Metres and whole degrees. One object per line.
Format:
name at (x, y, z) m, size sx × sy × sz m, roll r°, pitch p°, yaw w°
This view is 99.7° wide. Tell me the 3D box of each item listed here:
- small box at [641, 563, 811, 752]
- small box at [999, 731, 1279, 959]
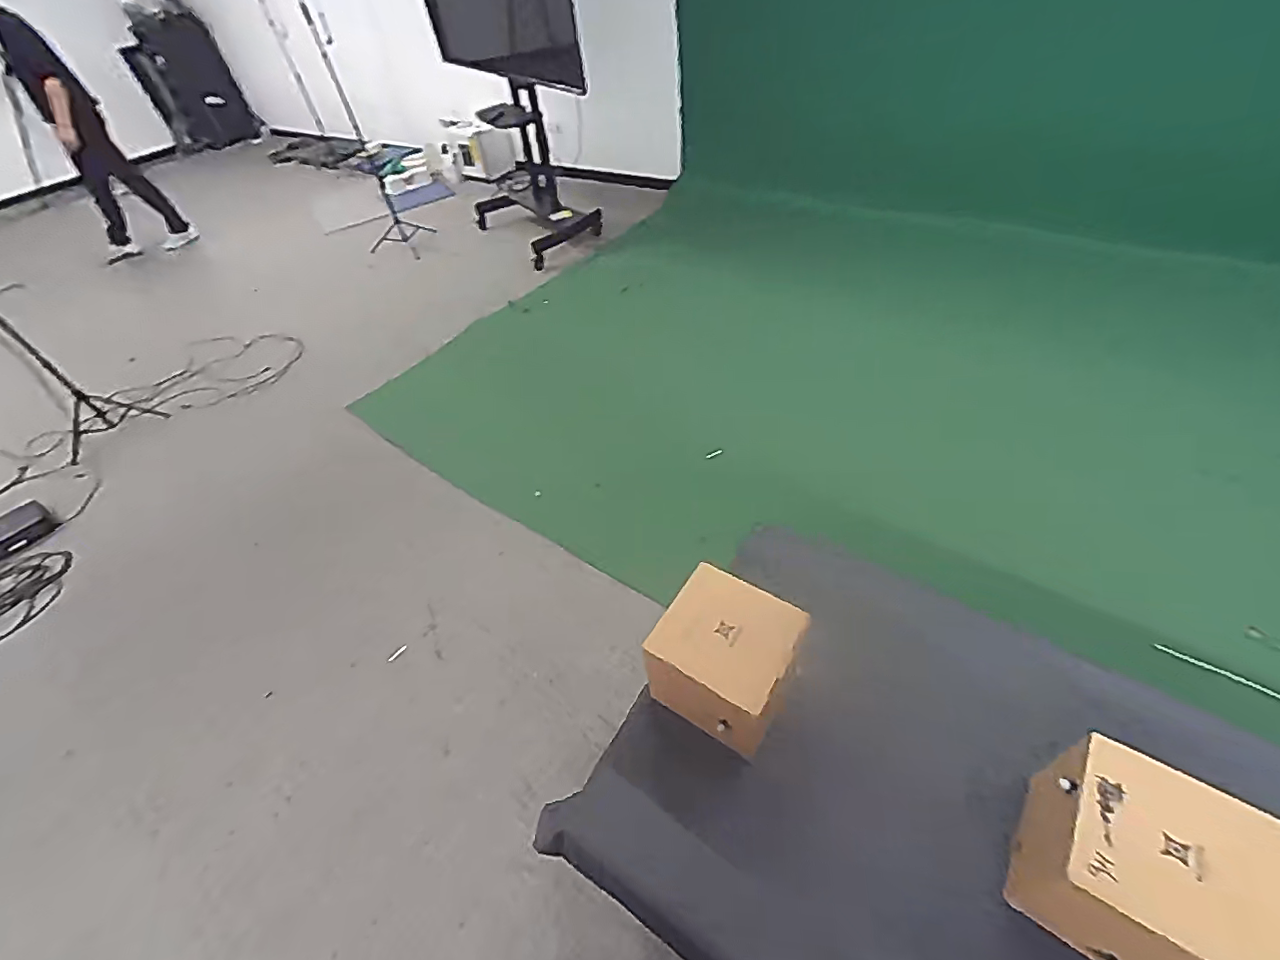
small box at (0.121, 0.258, 0.776) m, size 0.179 × 0.176 × 0.168 m, roll 22°, pitch 50°, yaw 25°
small box at (0.533, 0.417, 0.585) m, size 0.179 × 0.176 × 0.168 m, roll 25°, pitch 53°, yaw 26°
